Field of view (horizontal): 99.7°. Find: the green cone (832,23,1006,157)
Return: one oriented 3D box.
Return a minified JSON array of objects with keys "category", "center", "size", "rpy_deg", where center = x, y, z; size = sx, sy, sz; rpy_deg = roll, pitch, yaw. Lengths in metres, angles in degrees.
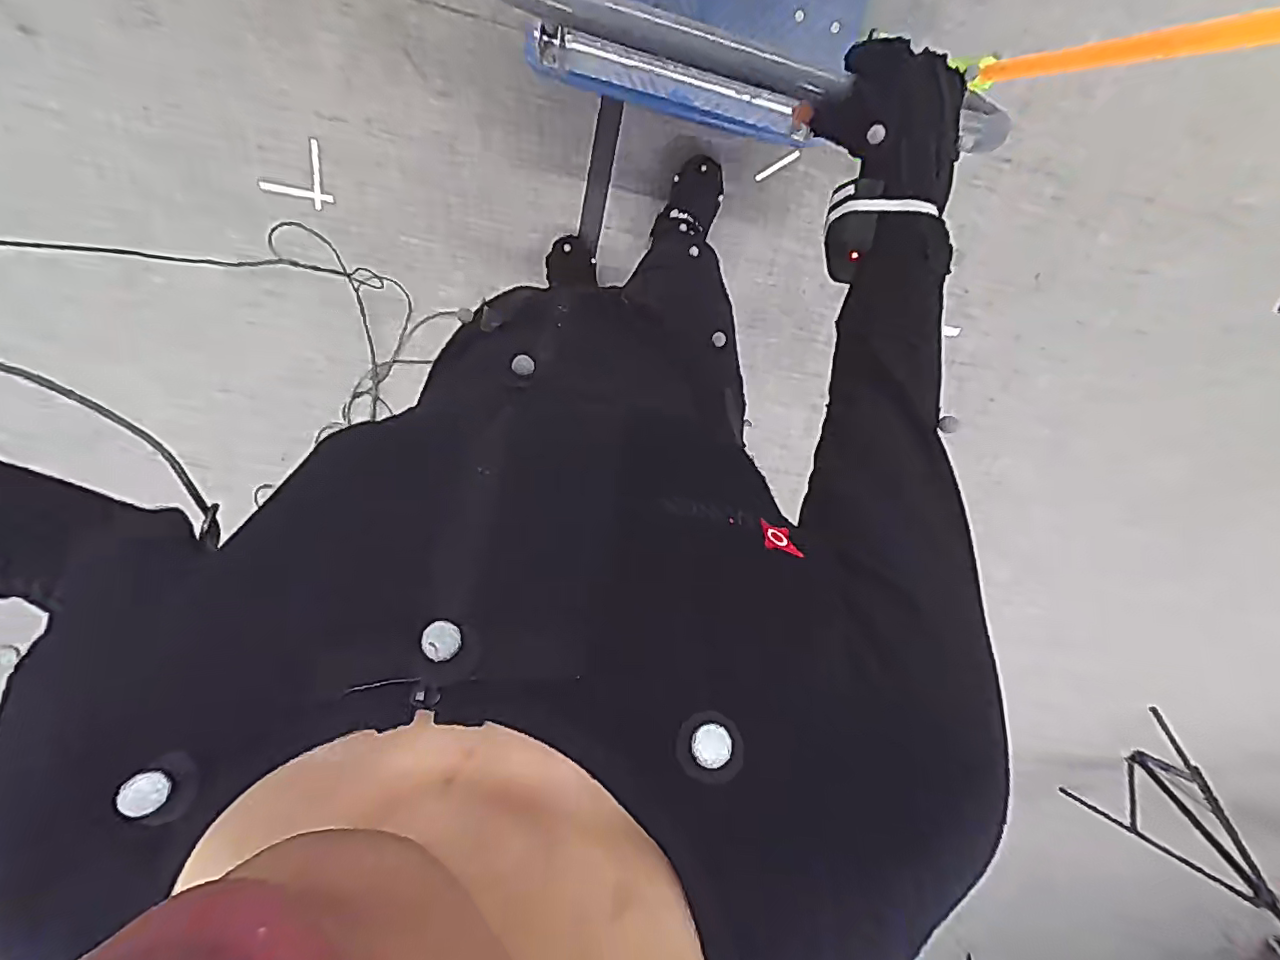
[{"category":"green cone","center":[0.546,-0.744,1.013],"size":[0.202,0.368,0.200],"rpy_deg":[12,118,-12]}]
